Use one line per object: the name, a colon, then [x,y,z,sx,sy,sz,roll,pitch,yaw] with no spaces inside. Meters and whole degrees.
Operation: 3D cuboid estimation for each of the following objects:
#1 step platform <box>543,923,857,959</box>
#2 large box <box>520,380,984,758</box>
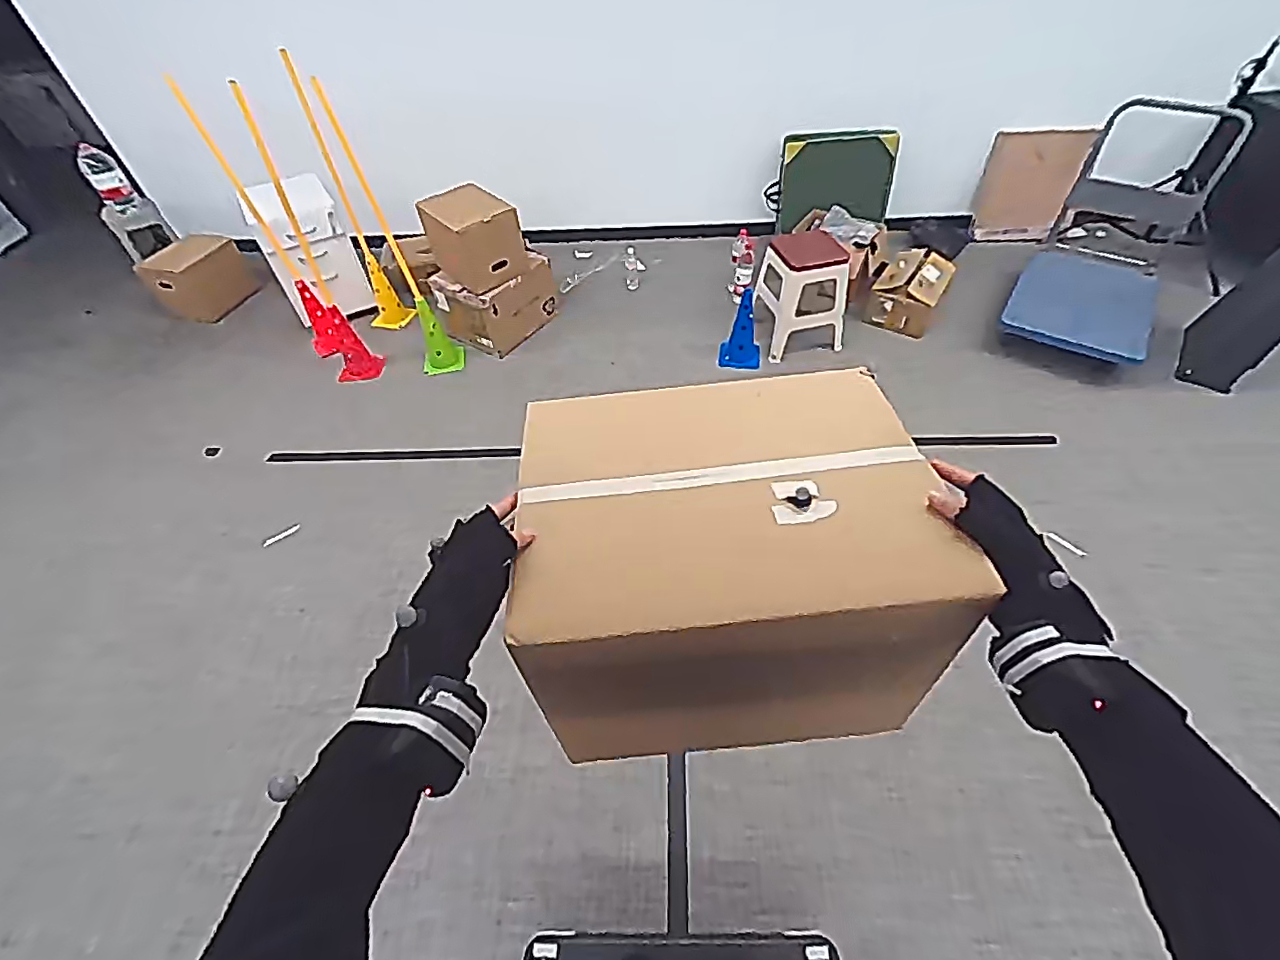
step platform: [0.123,1.107,1.120,0.684,0.204,0.286,-1,49,1]
large box: [0.091,0.110,0.659,0.408,0.320,0.320,-6,47,0]
